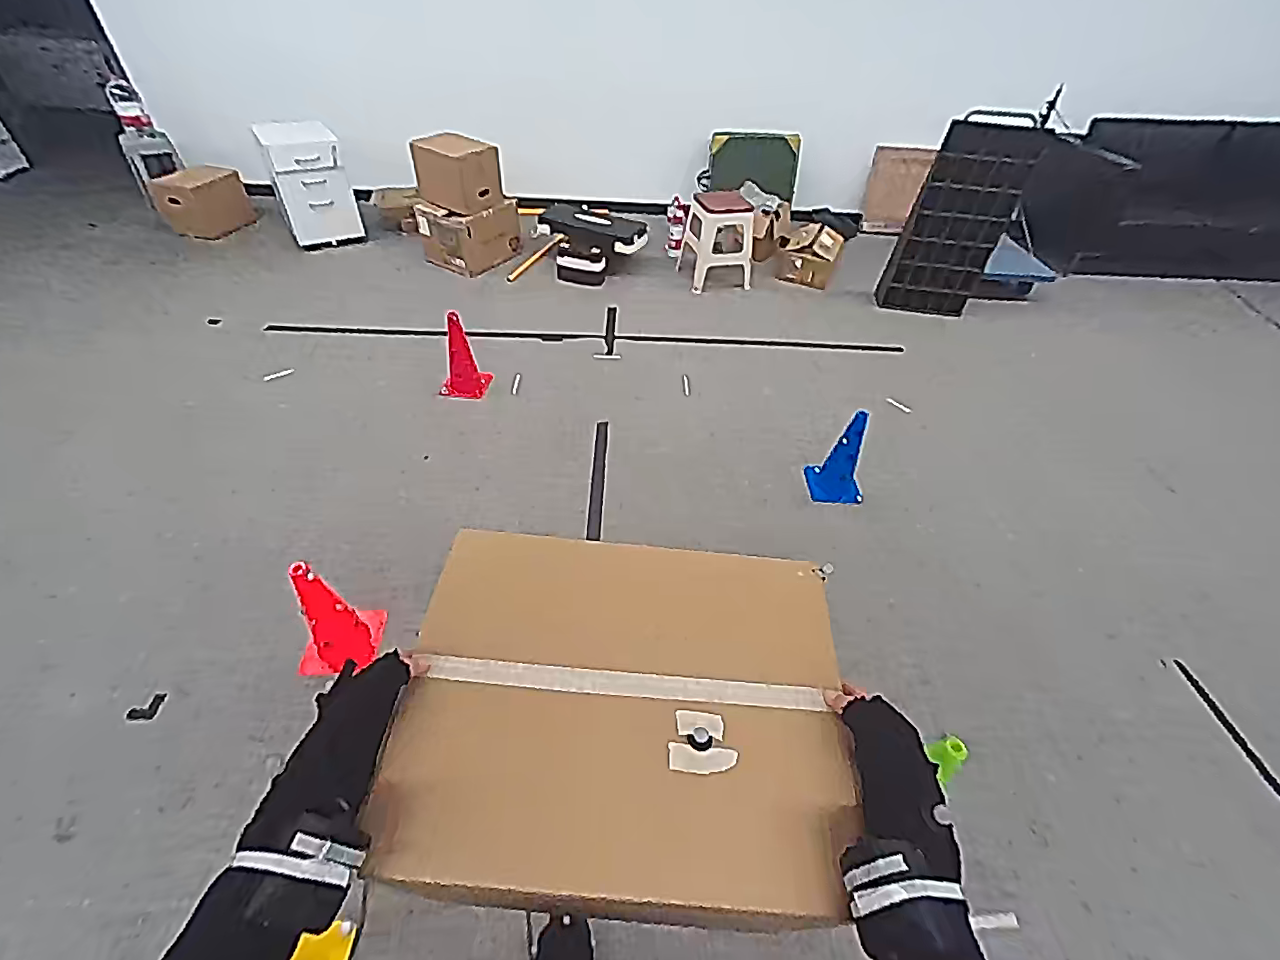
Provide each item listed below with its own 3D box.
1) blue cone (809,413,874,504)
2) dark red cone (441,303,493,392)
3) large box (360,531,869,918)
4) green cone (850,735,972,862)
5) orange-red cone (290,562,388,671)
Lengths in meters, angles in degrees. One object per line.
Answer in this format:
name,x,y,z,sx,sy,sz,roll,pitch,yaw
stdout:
blue cone,0.788,-0.095,2.040,0.192,0.380,0.193,5,45,-1
dark red cone,-0.777,-0.583,2.361,0.201,0.394,0.202,7,45,1
large box,-0.022,0.286,0.622,0.408,0.320,0.320,6,49,-1
green cone,0.641,0.671,1.220,0.202,0.368,0.200,-26,52,-29
orange-red cone,-0.843,0.340,1.447,0.198,0.360,0.199,0,46,-3
